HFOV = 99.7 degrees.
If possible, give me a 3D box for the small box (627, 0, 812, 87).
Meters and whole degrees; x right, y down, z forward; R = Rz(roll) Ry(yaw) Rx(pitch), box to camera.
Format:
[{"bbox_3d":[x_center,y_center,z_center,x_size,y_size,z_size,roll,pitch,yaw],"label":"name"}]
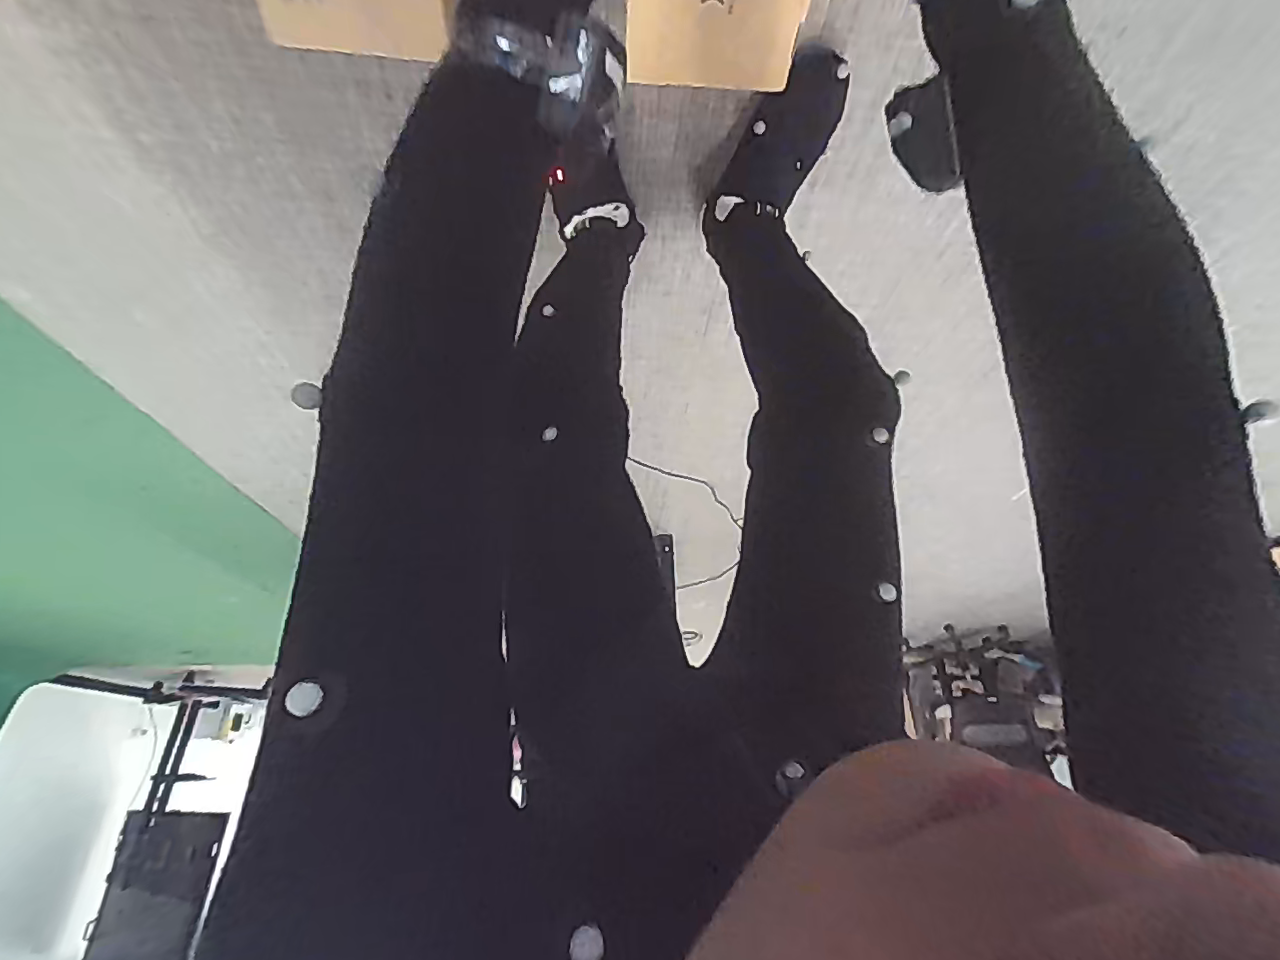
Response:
[{"bbox_3d":[0.077,-0.534,0.544,0.179,0.176,0.168,0,150,-4],"label":"small box"}]
